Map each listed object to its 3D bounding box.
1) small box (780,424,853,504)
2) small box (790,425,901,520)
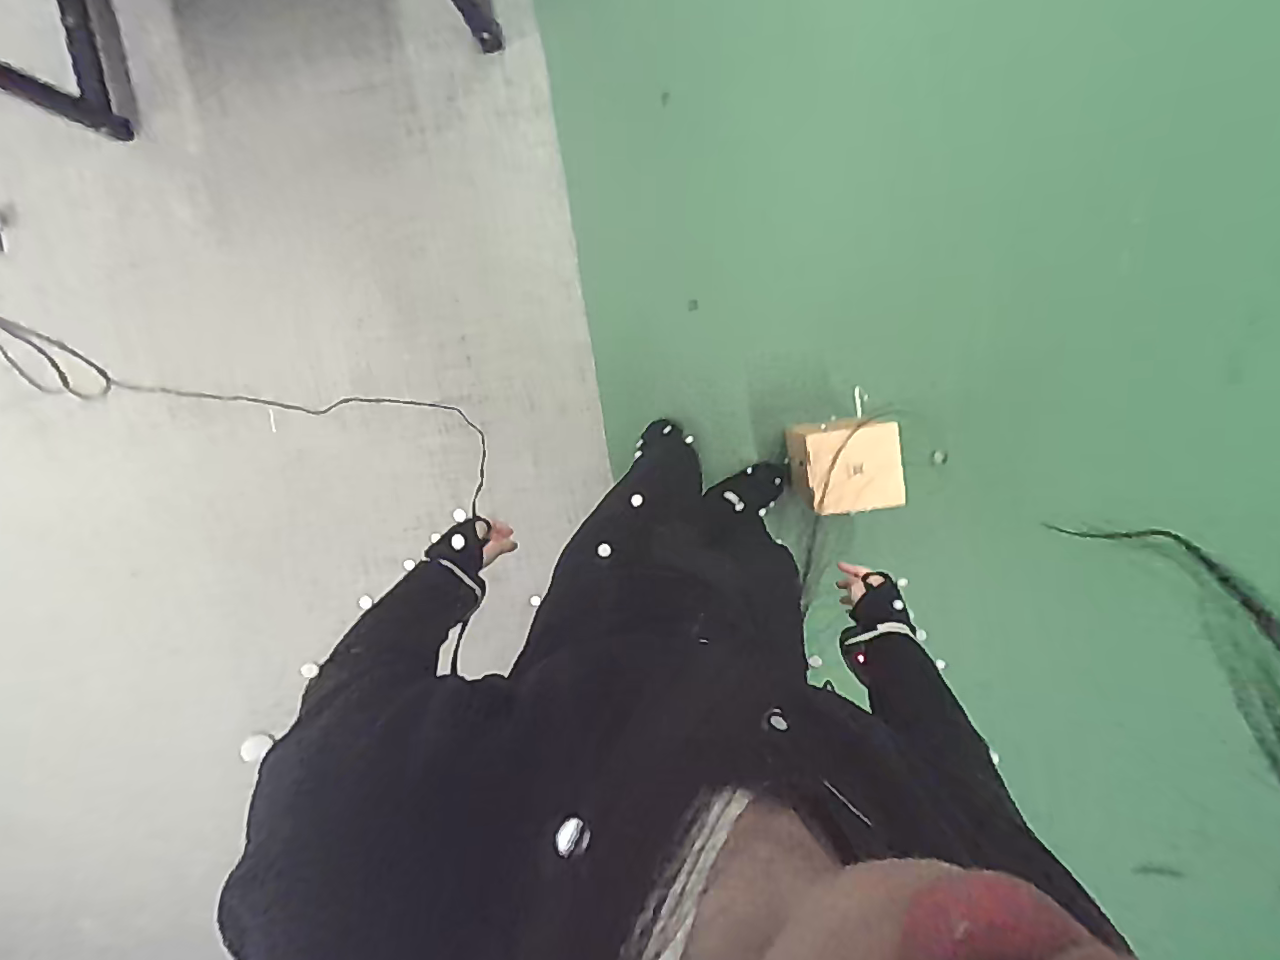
[{"bbox_3d":[0.444,-0.043,1.305,0.179,0.176,0.168,-7,96,8],"label":"small box"},{"bbox_3d":[0.427,-0.021,1.145,0.179,0.176,0.168,-8,97,8],"label":"small box"}]
